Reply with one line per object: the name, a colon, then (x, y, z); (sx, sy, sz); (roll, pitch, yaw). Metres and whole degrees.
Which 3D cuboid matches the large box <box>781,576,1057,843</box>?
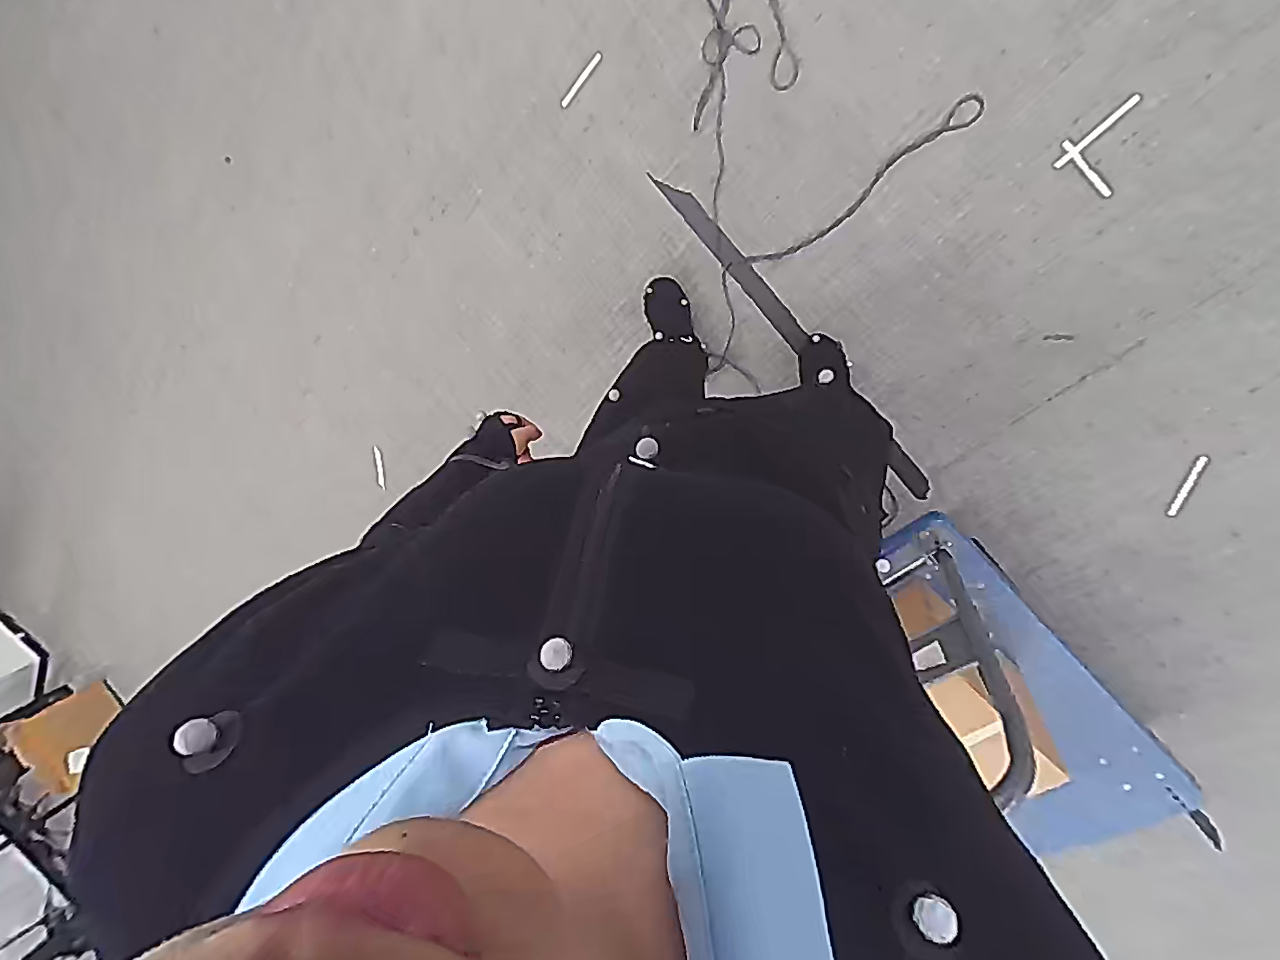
large box: (0.574, 0.491, 1.193); (0.320, 0.320, 0.408); (44, 117, 2)
